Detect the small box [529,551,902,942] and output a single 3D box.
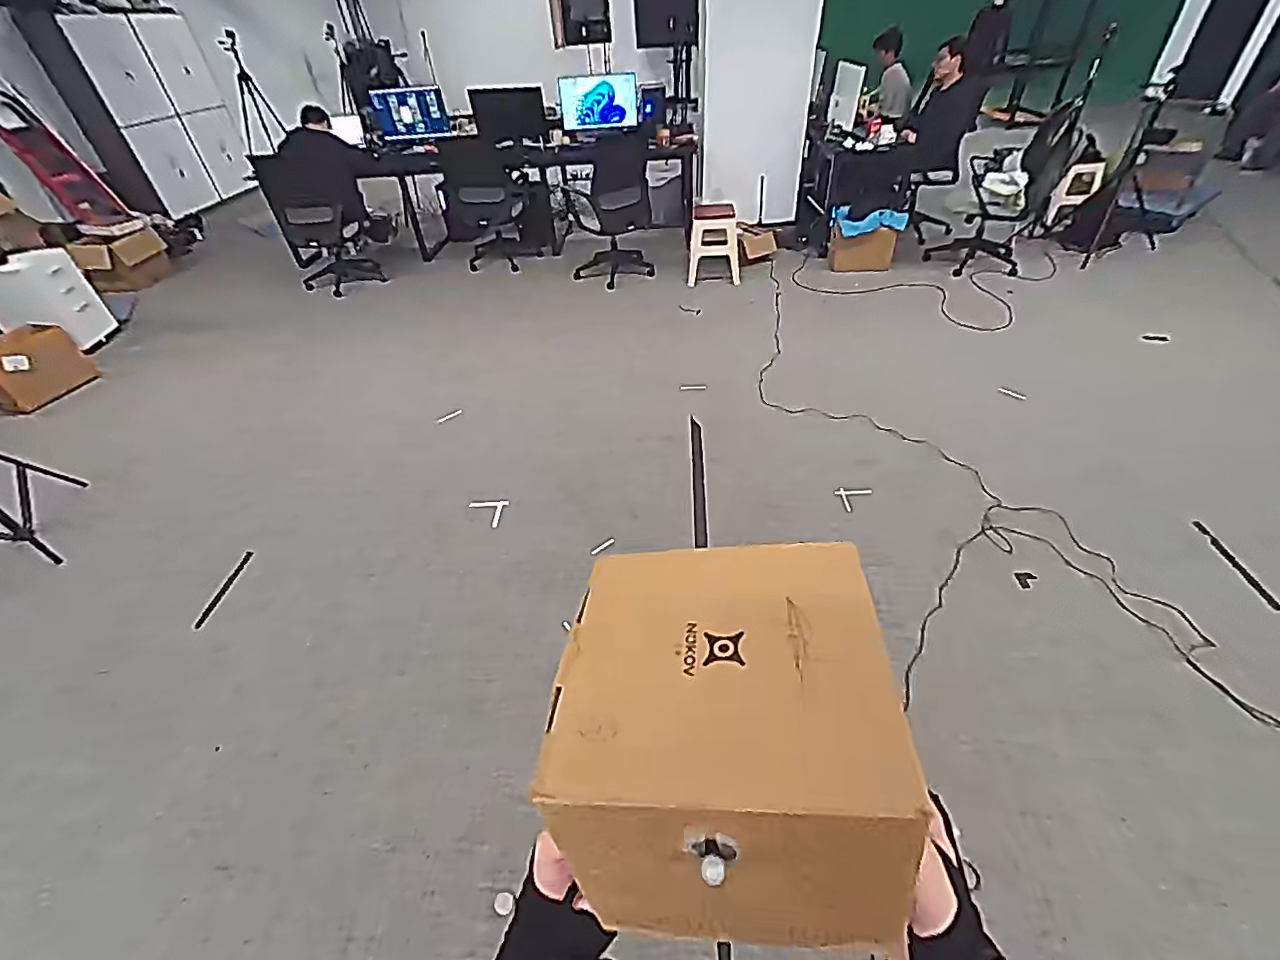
[{"bbox_3d":[0.054,0.167,0.352,0.179,0.176,0.168,-5,34,11],"label":"small box"}]
